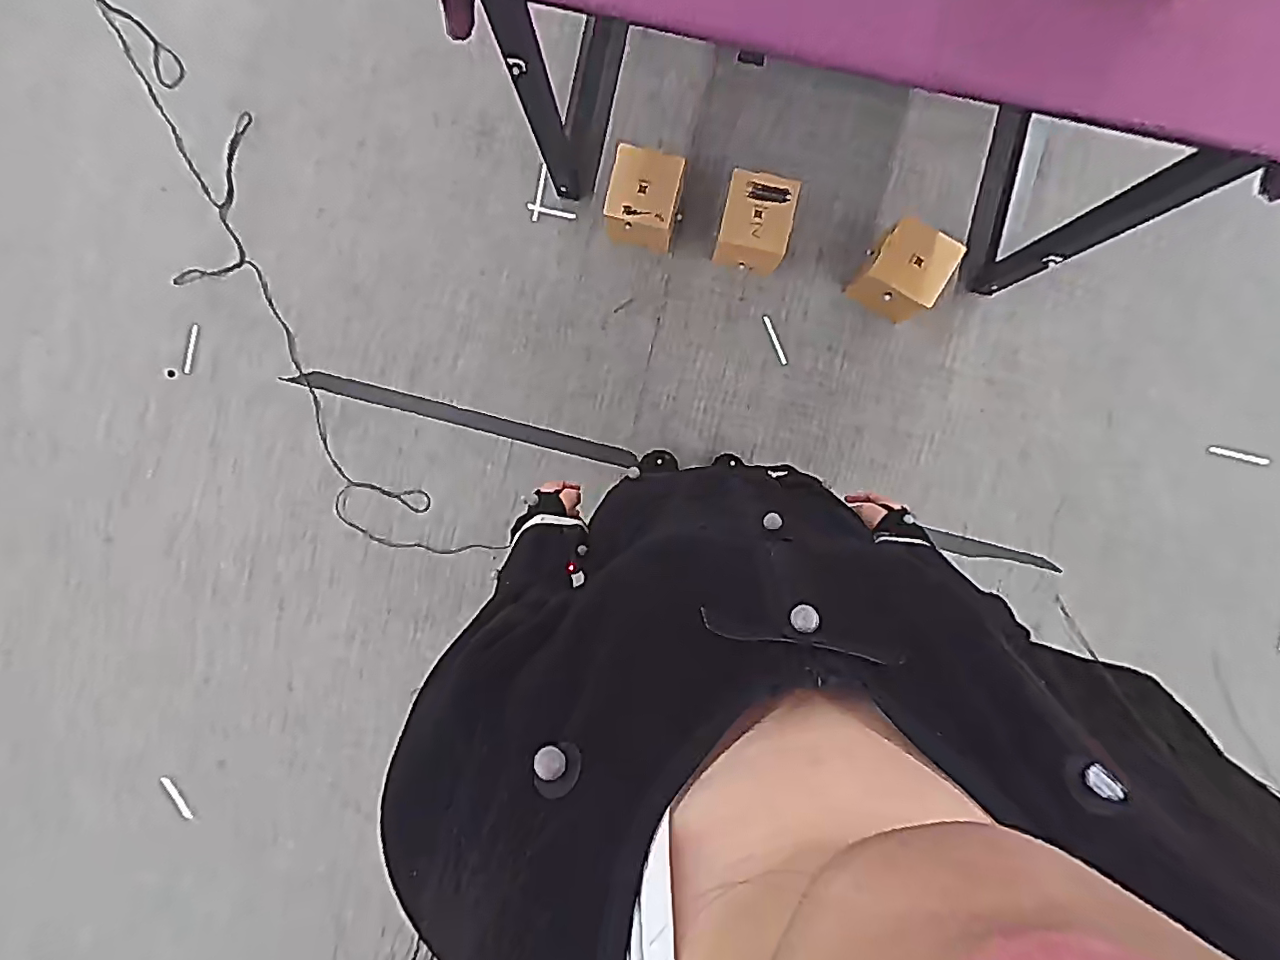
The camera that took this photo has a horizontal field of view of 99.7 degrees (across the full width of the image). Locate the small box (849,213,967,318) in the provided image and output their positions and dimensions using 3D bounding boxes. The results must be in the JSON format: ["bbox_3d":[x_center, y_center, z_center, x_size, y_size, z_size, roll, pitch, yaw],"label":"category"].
[{"bbox_3d":[0.665,-0.528,1.362,0.179,0.176,0.168,31,95,1],"label":"small box"}]

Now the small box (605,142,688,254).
[{"bbox_3d":[0.015,-0.708,1.374,0.168,0.176,0.179,15,93,1],"label":"small box"}]
